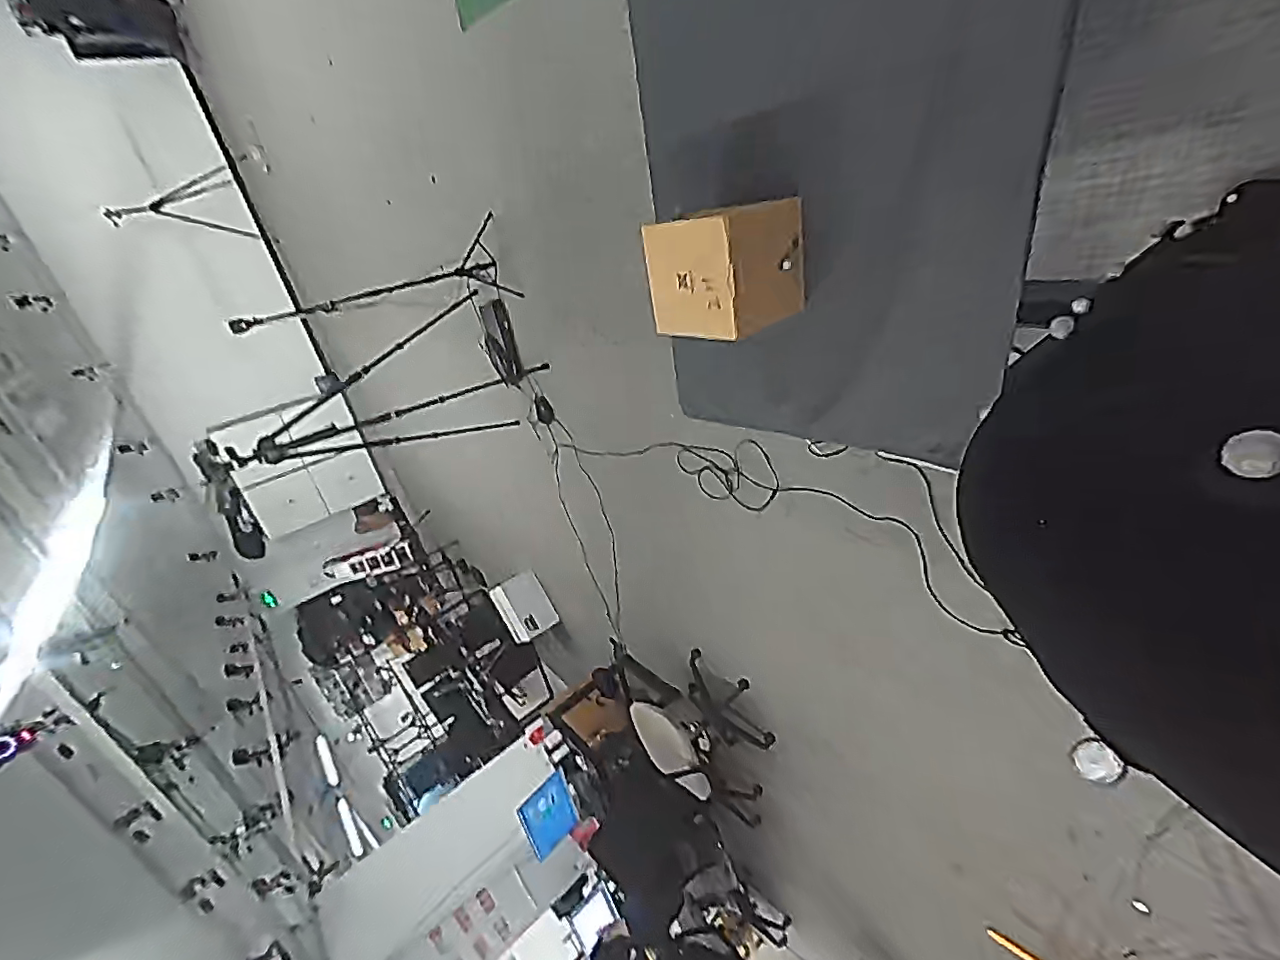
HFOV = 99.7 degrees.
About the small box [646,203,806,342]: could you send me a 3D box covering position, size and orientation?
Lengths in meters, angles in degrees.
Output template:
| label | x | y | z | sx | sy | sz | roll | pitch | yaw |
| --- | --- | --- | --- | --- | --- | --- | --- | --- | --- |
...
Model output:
| label | x | y | z | sx | sy | sz | roll | pitch | yaw |
| --- | --- | --- | --- | --- | --- | --- | --- | --- | --- |
| small box | 0.137 | -0.325 | 0.846 | 0.179 | 0.176 | 0.168 | 21 | 131 | 46 |
